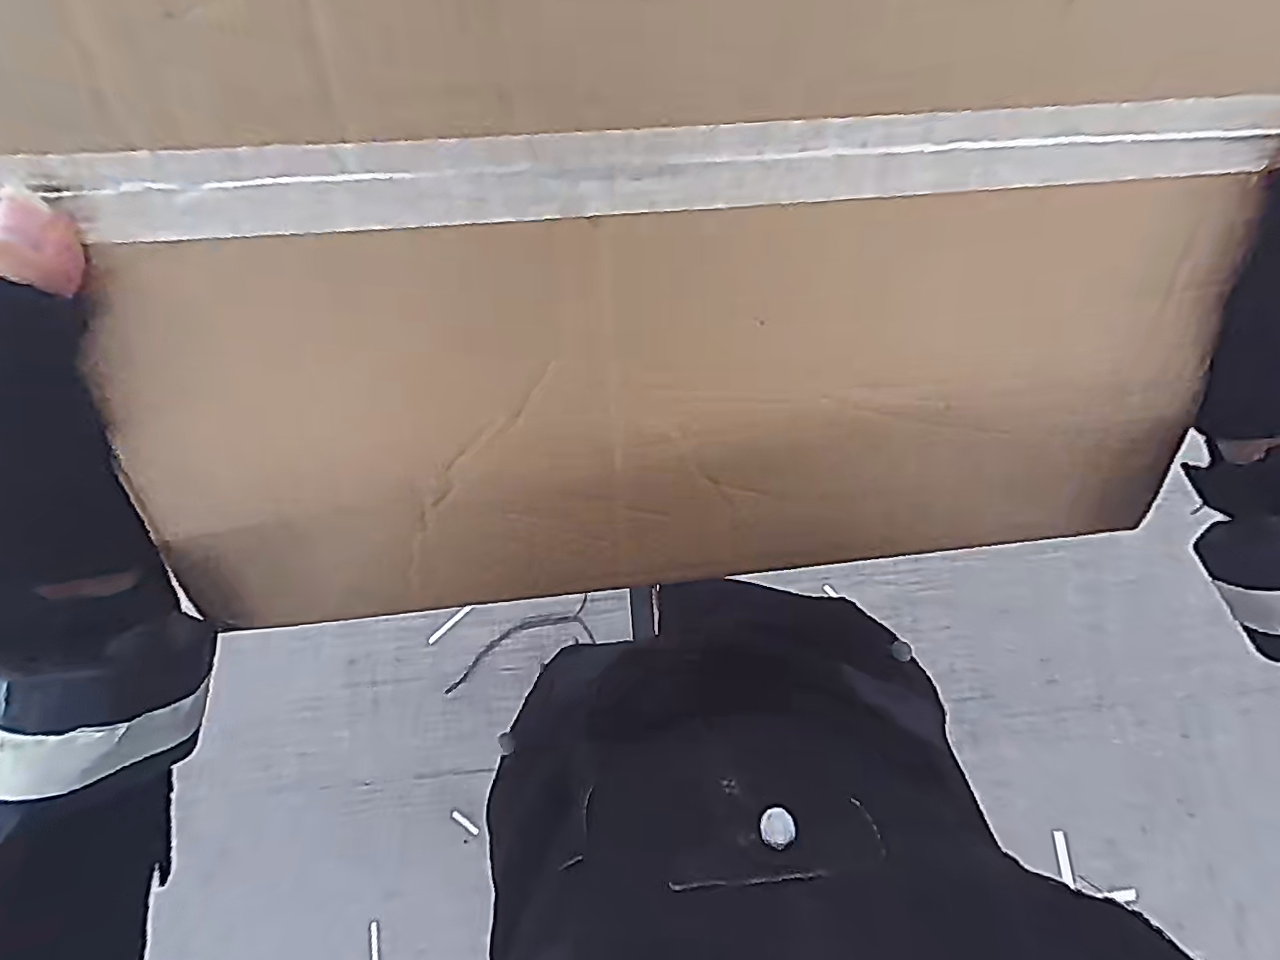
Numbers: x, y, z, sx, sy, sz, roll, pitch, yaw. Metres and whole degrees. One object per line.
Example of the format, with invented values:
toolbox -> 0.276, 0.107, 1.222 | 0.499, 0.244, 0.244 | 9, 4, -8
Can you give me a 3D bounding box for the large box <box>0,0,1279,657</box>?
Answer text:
large box -> 0.001, -0.151, 0.300 | 0.408, 0.320, 0.320 | -6, 119, -5
